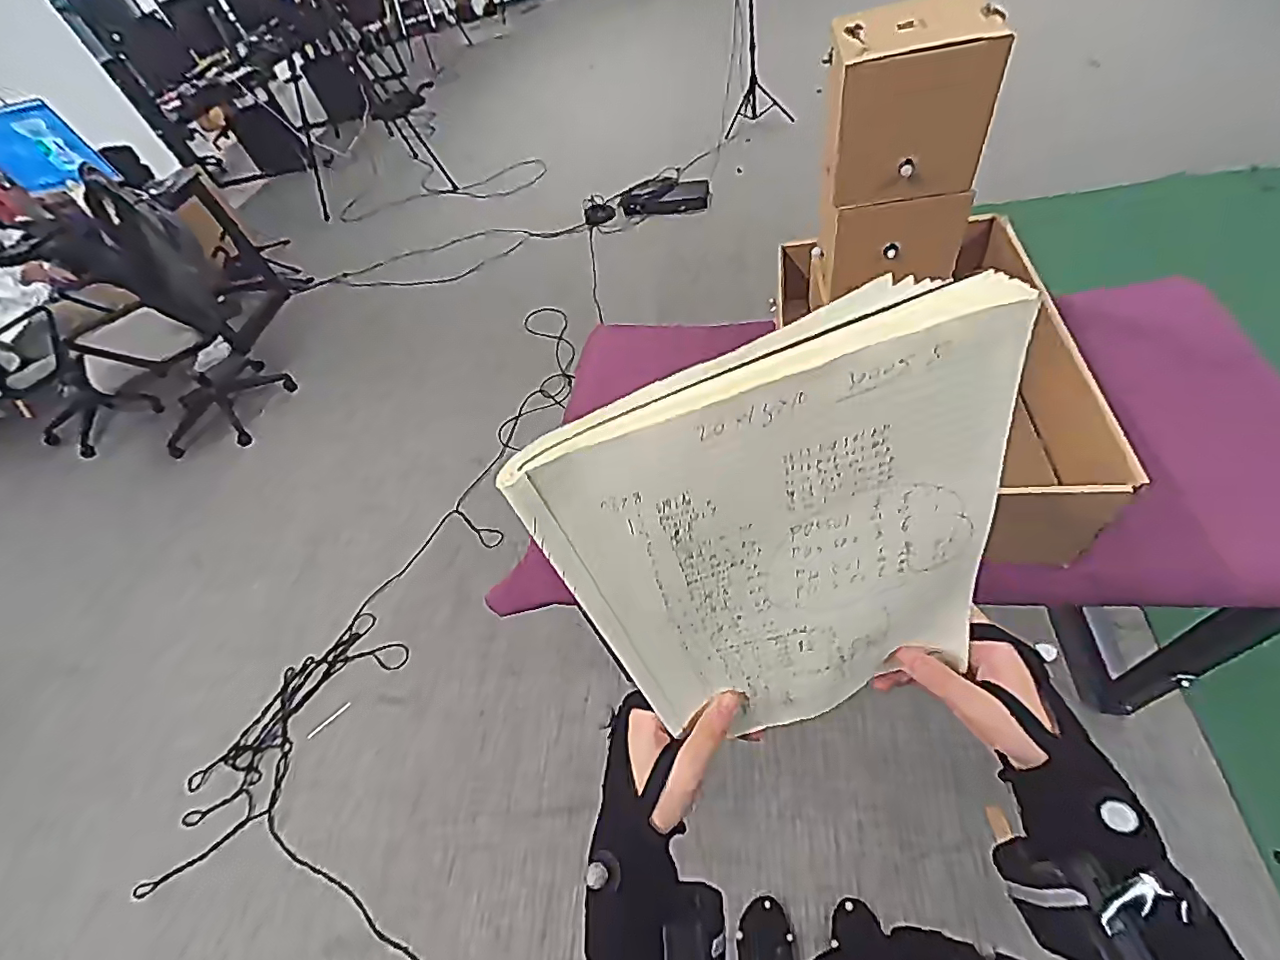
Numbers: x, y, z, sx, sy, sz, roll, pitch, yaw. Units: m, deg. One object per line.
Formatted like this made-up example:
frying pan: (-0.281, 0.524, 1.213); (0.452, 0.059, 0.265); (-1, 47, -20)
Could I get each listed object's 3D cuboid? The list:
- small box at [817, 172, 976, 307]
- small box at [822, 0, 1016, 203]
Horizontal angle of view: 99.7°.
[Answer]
small box: (0.376, -0.389, 0.830); (0.179, 0.176, 0.168); (-3, 53, 11)
small box: (0.342, -0.489, 0.704); (0.179, 0.176, 0.168); (-1, 53, 12)
